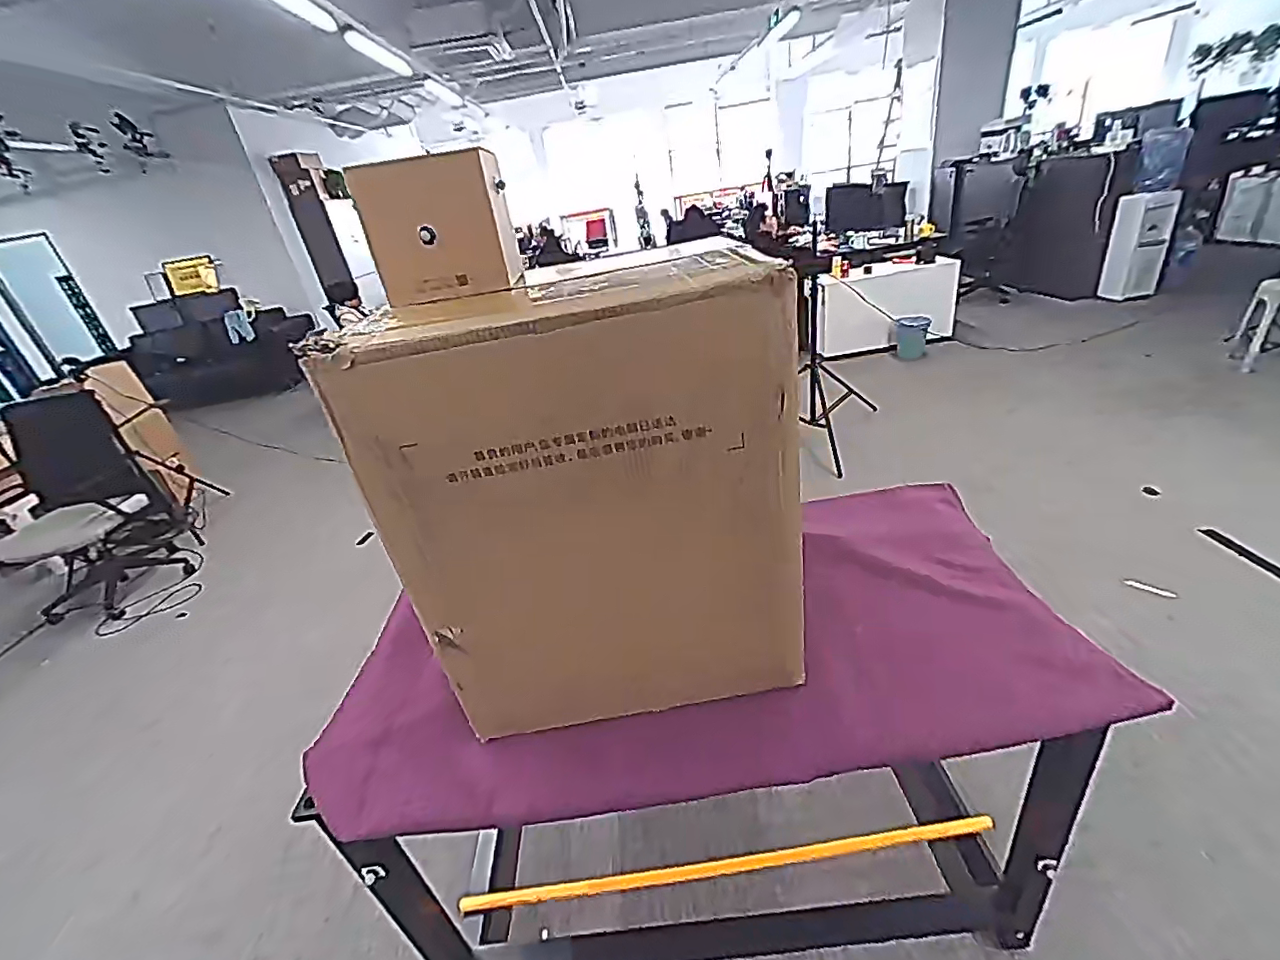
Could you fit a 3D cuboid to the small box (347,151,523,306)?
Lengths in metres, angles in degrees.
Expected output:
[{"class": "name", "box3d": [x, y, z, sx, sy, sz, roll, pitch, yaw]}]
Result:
[{"class": "small box", "box3d": [-0.267, -0.348, 0.757, 0.168, 0.176, 0.179, -9, 28, -1]}]
